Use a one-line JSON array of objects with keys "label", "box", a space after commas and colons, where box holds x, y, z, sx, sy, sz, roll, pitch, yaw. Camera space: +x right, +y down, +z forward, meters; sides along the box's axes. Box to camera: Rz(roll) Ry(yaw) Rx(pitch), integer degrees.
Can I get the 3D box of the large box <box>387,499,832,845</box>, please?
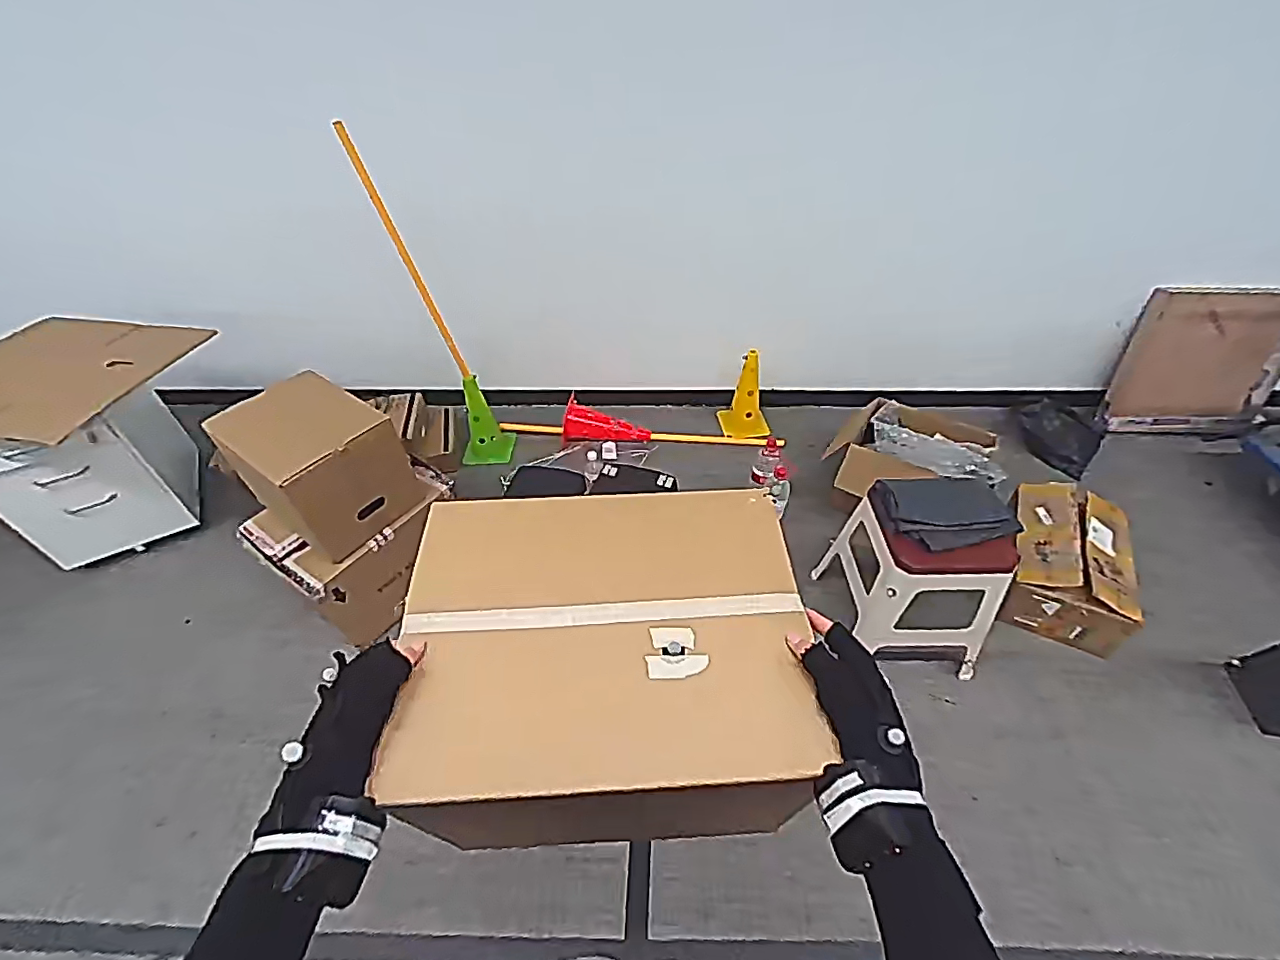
[{"label": "large box", "box": [-0.036, 0.244, 0.682, 0.408, 0.320, 0.320, -2, 51, -3]}]
